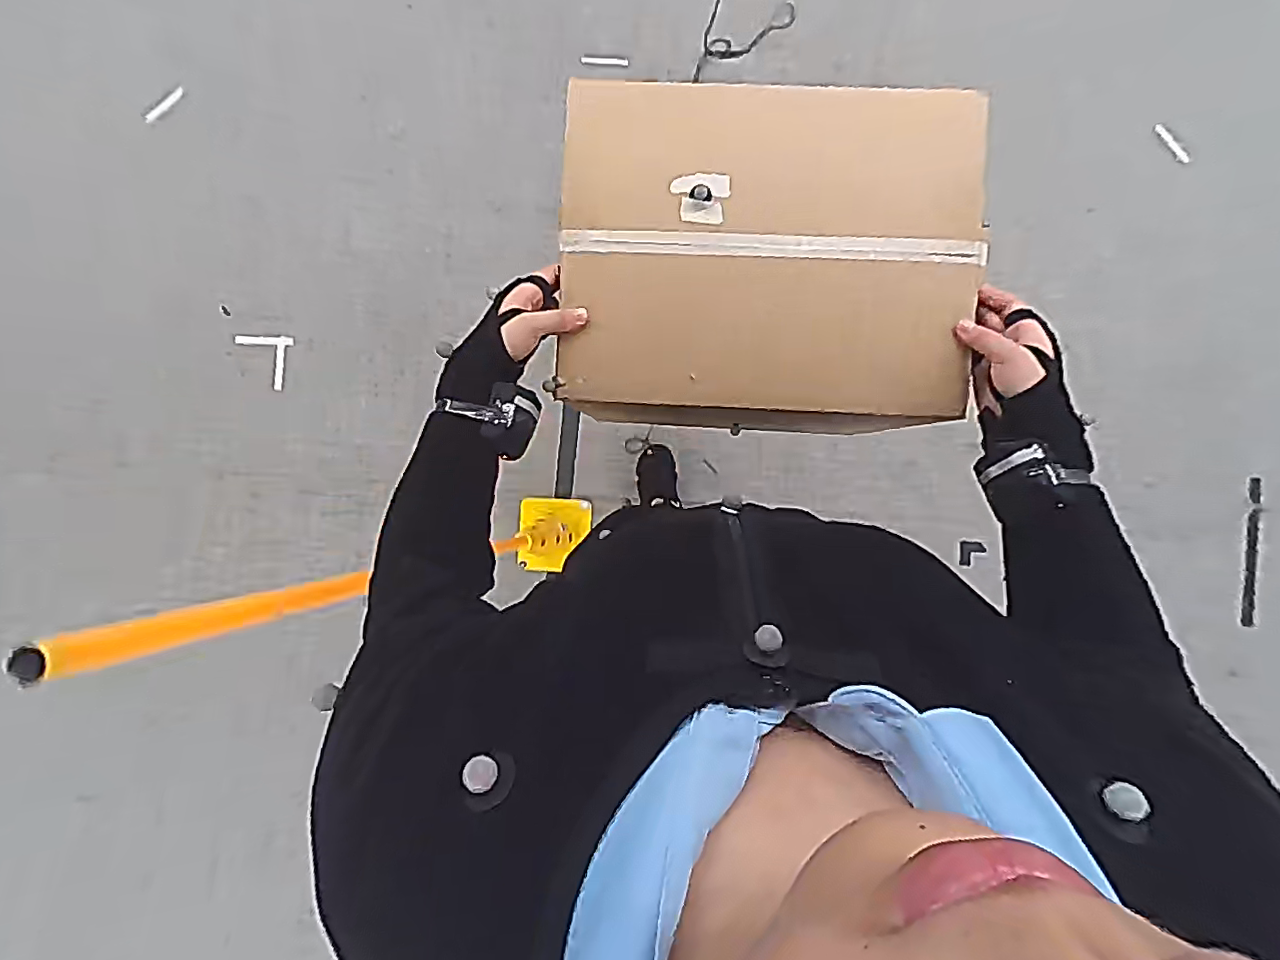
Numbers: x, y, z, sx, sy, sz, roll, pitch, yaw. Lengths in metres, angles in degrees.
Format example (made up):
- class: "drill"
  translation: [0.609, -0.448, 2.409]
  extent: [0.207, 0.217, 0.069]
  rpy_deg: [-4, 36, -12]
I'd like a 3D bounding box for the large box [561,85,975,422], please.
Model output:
- class: "large box"
  translation: [0.132, -0.239, 0.686]
  extent: [0.408, 0.320, 0.320]
  rpy_deg: [3, 91, 4]
